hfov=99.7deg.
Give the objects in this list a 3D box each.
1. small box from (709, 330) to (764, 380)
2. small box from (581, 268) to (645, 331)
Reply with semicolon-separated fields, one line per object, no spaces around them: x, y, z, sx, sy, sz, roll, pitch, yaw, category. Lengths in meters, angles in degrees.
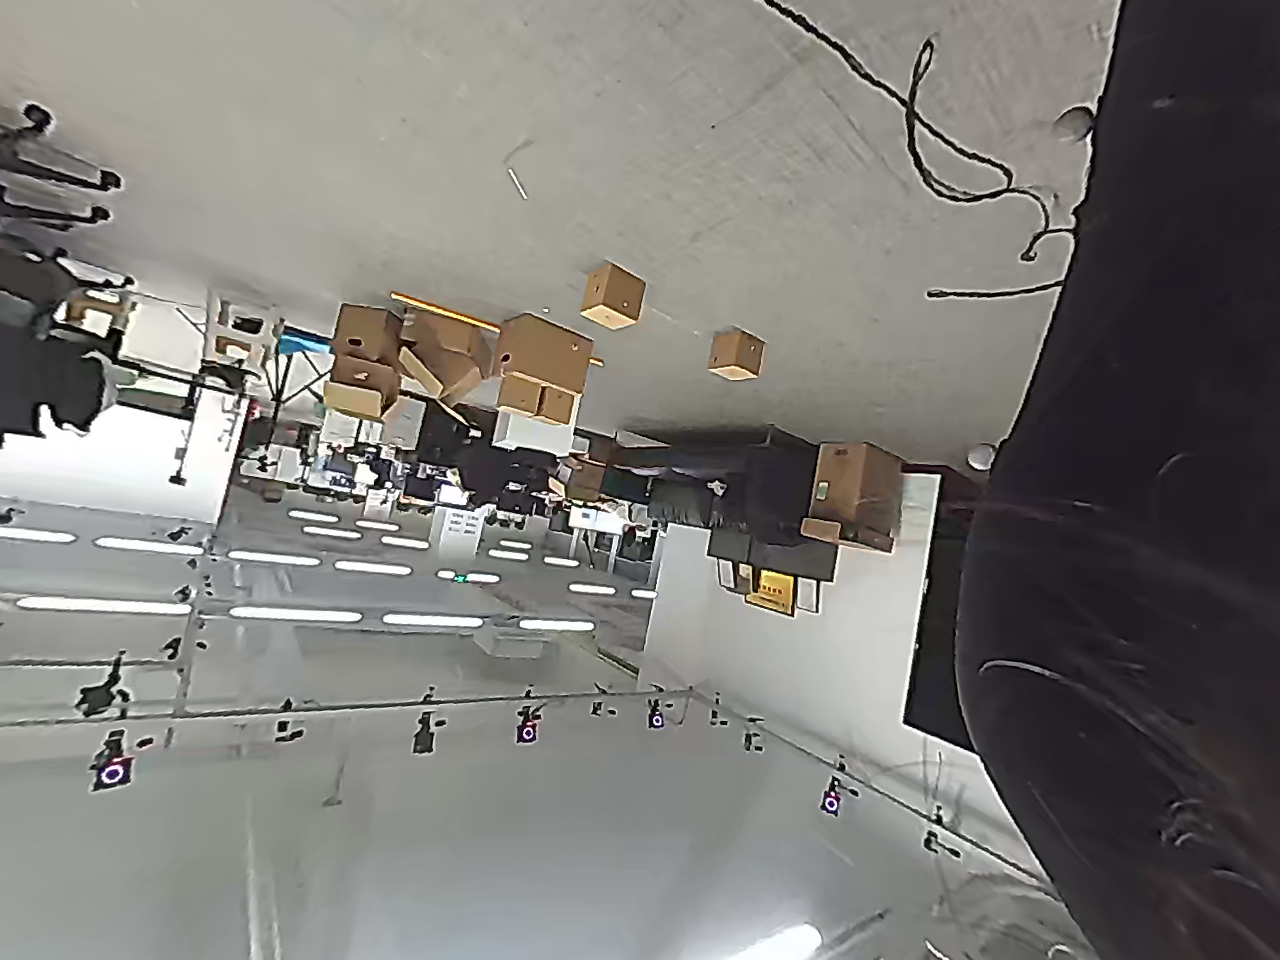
0.446;-0.573;2.484;0.168;0.176;0.179;13;175;-36;small box
-0.102;-0.702;2.093;0.179;0.176;0.168;13;175;-36;small box
